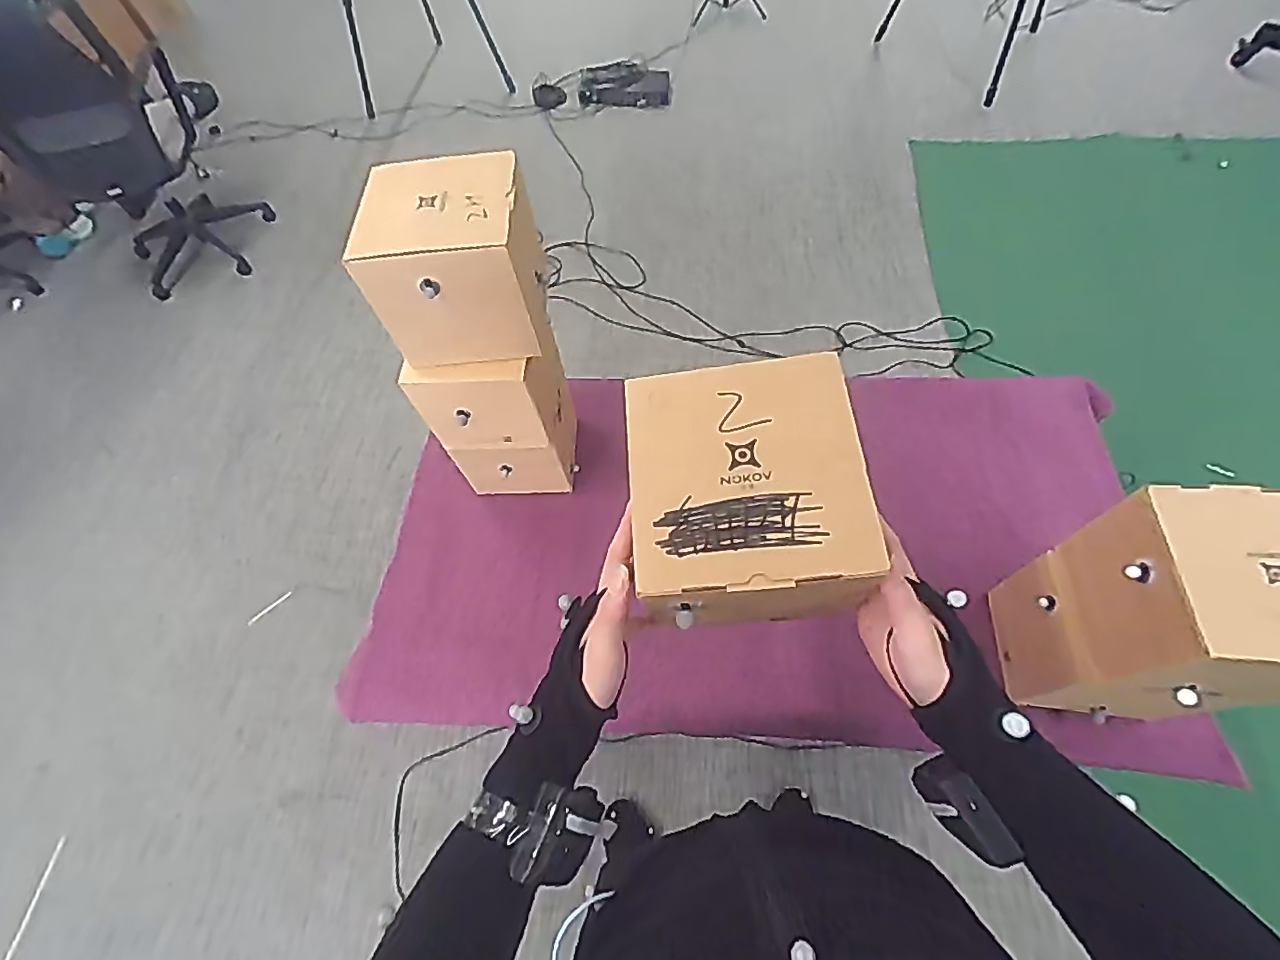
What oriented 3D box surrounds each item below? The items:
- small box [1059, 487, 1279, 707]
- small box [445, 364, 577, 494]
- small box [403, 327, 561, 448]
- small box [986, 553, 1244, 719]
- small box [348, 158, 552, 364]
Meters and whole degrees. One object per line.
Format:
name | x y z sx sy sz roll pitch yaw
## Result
small box | 0.589 0.127 0.571 0.168 0.176 0.179 4 61 9
small box | -0.210 -0.084 0.939 0.179 0.176 0.168 -2 61 4
small box | -0.216 -0.158 0.795 0.168 0.176 0.179 -1 61 4
small box | 0.598 0.211 0.712 0.179 0.176 0.168 5 60 7
small box | -0.215 -0.259 0.664 0.179 0.176 0.168 -4 61 2
